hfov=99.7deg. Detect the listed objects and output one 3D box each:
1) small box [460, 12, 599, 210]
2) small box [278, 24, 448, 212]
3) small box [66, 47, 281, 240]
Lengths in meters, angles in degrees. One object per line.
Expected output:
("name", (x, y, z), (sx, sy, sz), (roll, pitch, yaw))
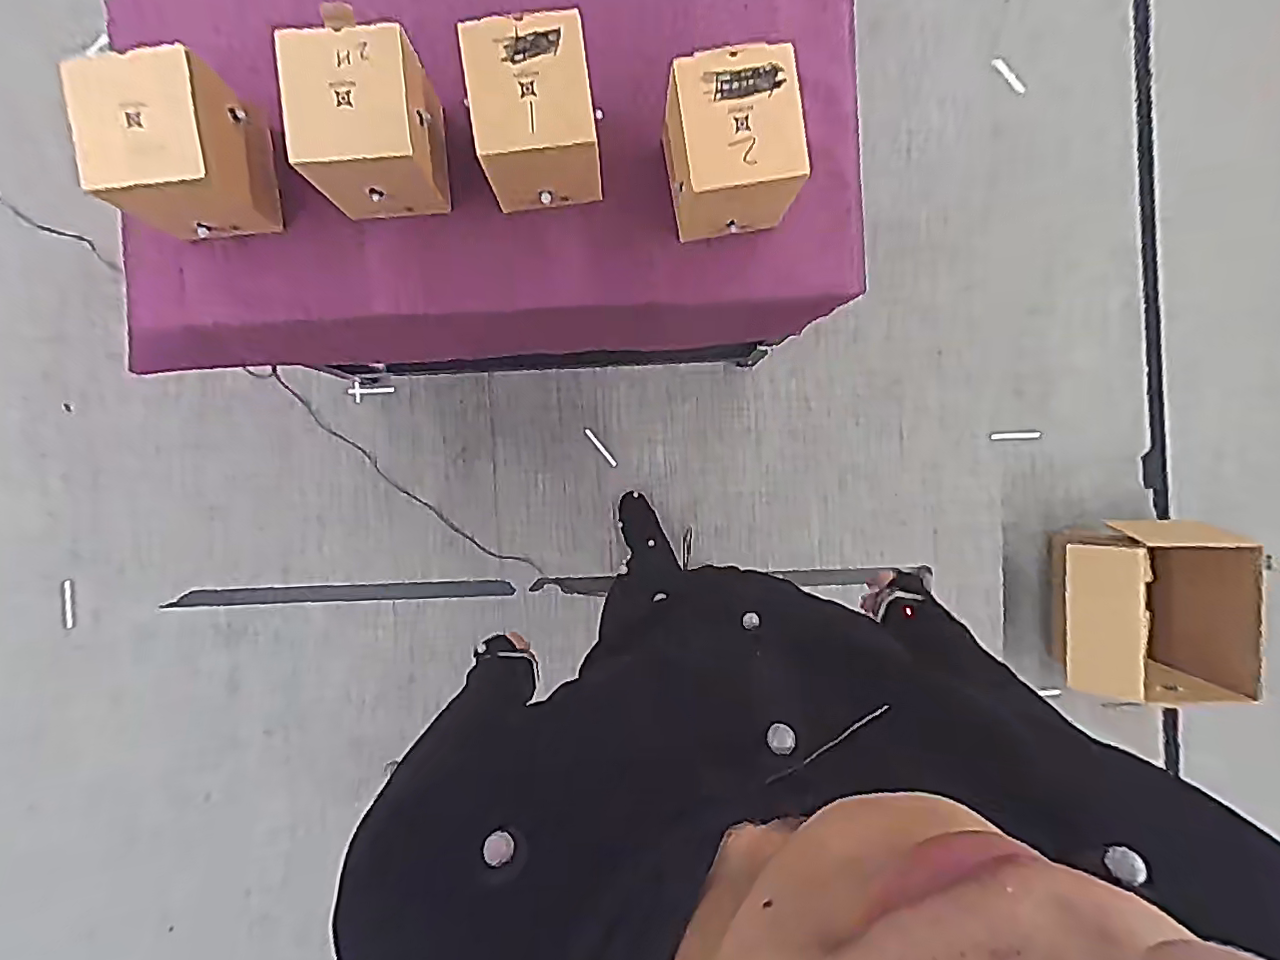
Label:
("small box", (-0.154, -0.537, 0.808), (0.168, 0.176, 0.179), (-8, 92, -1))
("small box", (-0.395, -0.517, 0.800), (0.168, 0.176, 0.179), (-5, 91, -2))
("small box", (-0.667, -0.480, 0.794), (0.168, 0.176, 0.179), (-7, 91, -1))
